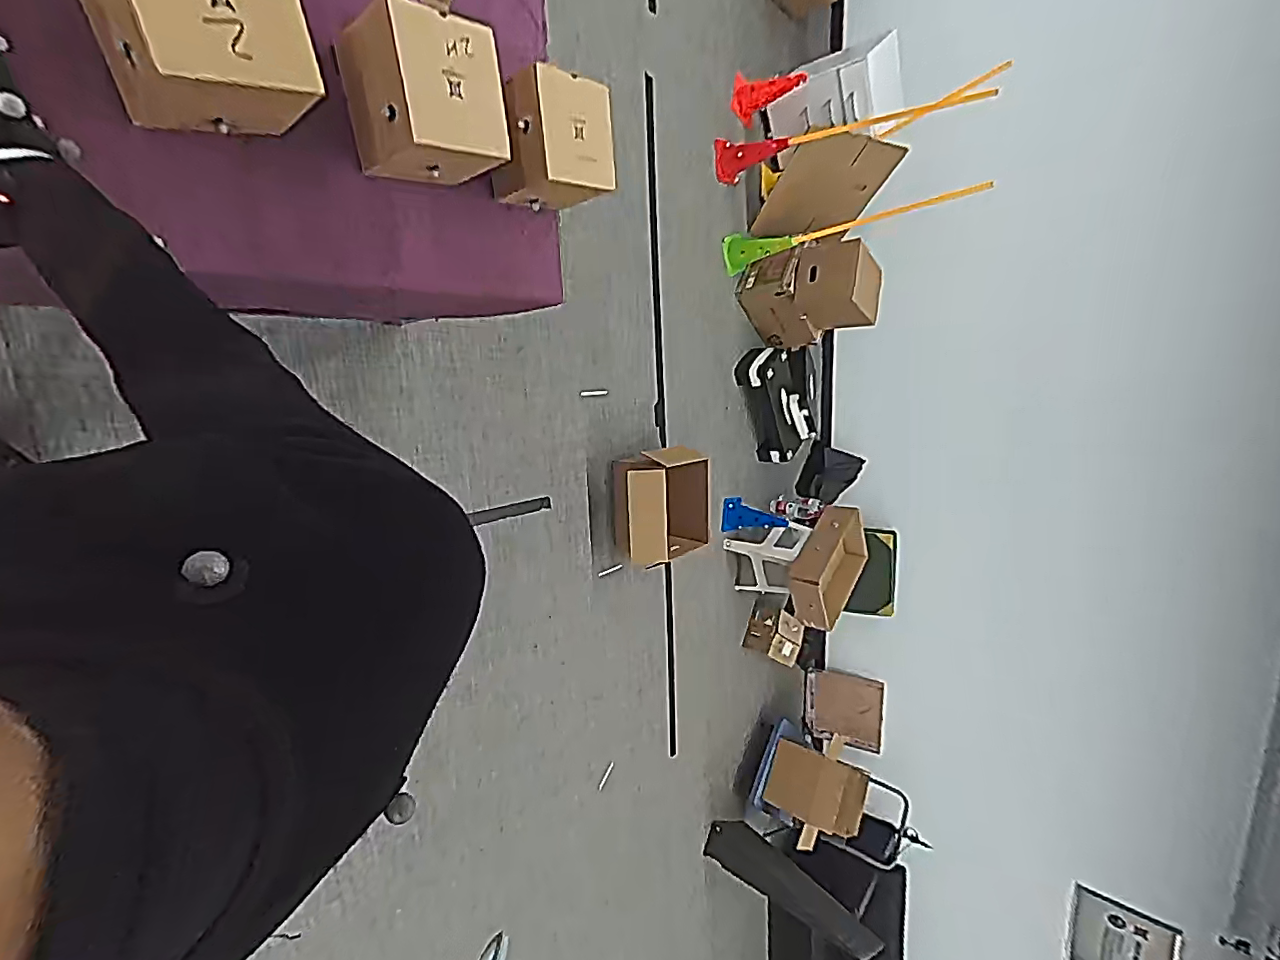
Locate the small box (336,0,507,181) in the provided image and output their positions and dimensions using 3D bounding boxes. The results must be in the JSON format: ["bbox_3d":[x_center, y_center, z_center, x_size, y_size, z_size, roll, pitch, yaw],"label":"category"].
[{"bbox_3d":[-0.329,-0.573,0.821,0.168,0.176,0.179,-23,113,-46],"label":"small box"}]

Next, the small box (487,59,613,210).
[{"bbox_3d":[-0.173,-0.620,0.996,0.168,0.176,0.179,-20,110,-44],"label":"small box"}]
